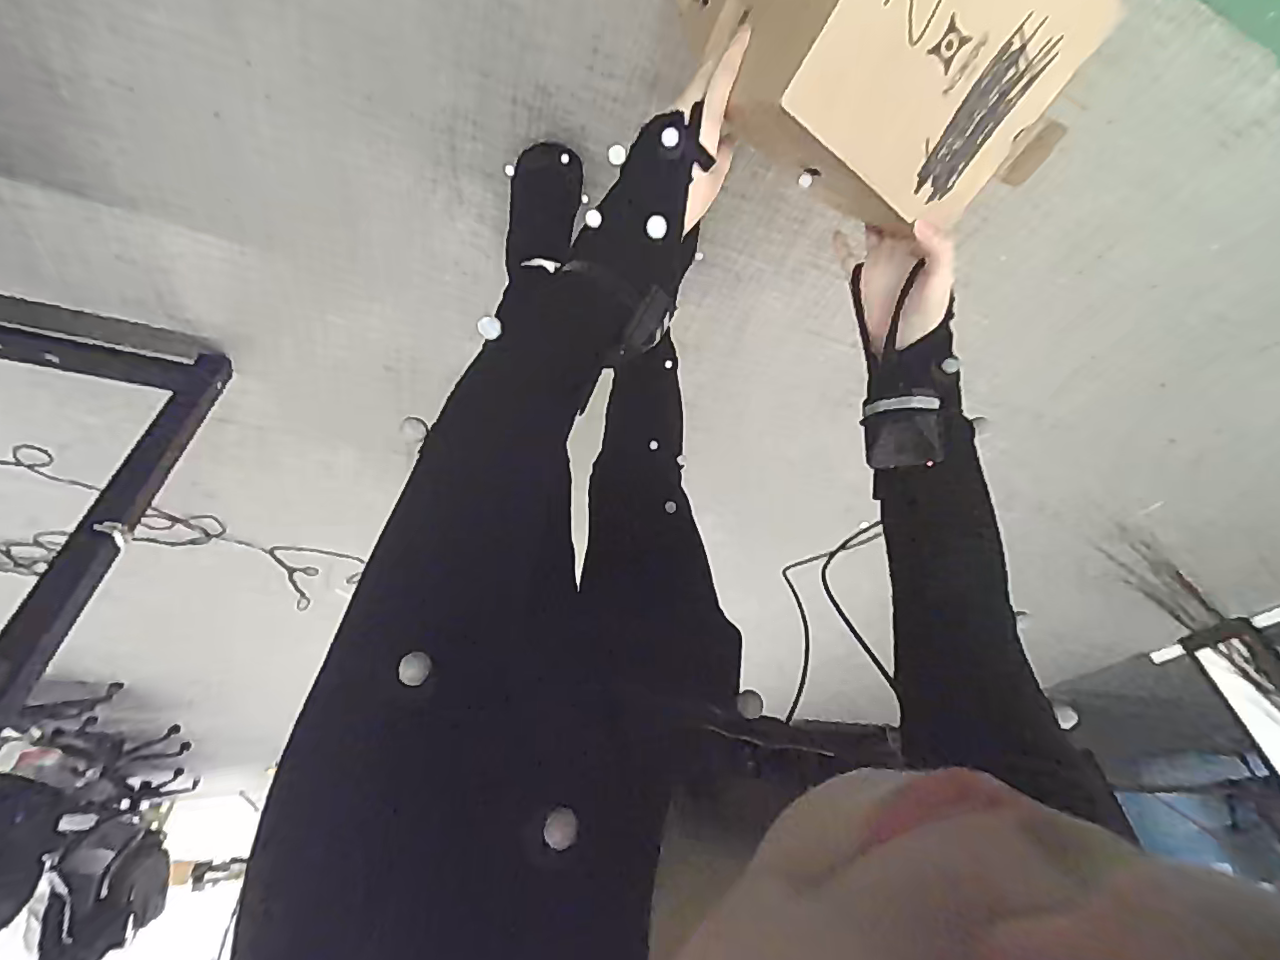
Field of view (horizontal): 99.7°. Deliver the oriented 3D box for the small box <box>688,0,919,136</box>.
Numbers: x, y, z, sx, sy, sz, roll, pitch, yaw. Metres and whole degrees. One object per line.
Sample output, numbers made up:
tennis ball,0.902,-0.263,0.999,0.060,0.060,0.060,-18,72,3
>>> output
small box,0.158,-0.492,0.532,0.168,0.176,0.179,12,139,-20
